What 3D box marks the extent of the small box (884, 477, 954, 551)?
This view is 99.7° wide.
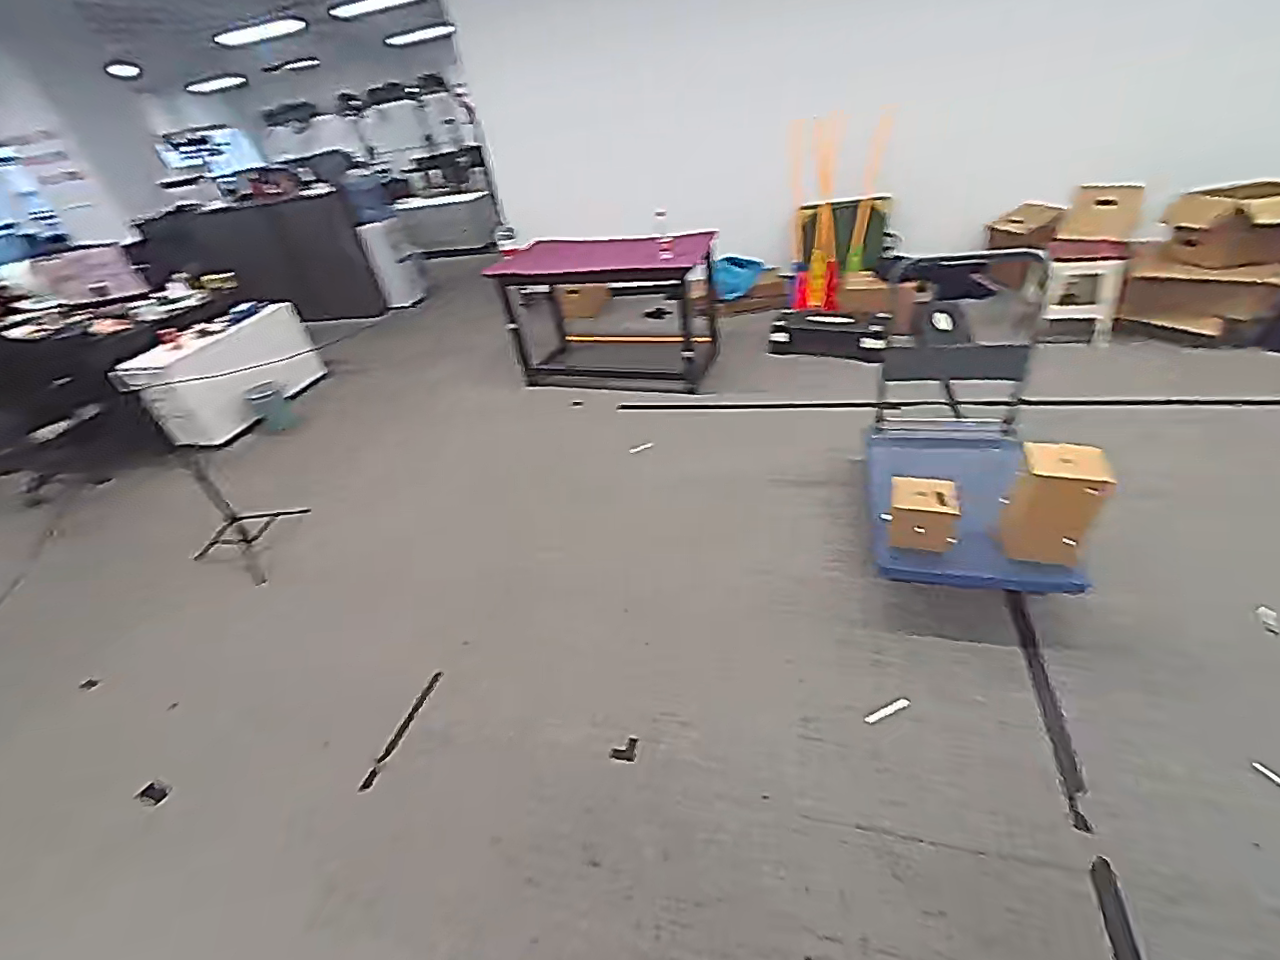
[{"bbox_3d":[0.899,0.113,1.756,0.179,0.176,0.168,5,39,21],"label":"small box"}]

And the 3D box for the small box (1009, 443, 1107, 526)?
[{"bbox_3d":[1.181,0.013,1.547,0.179,0.176,0.168,7,39,20],"label":"small box"}]
